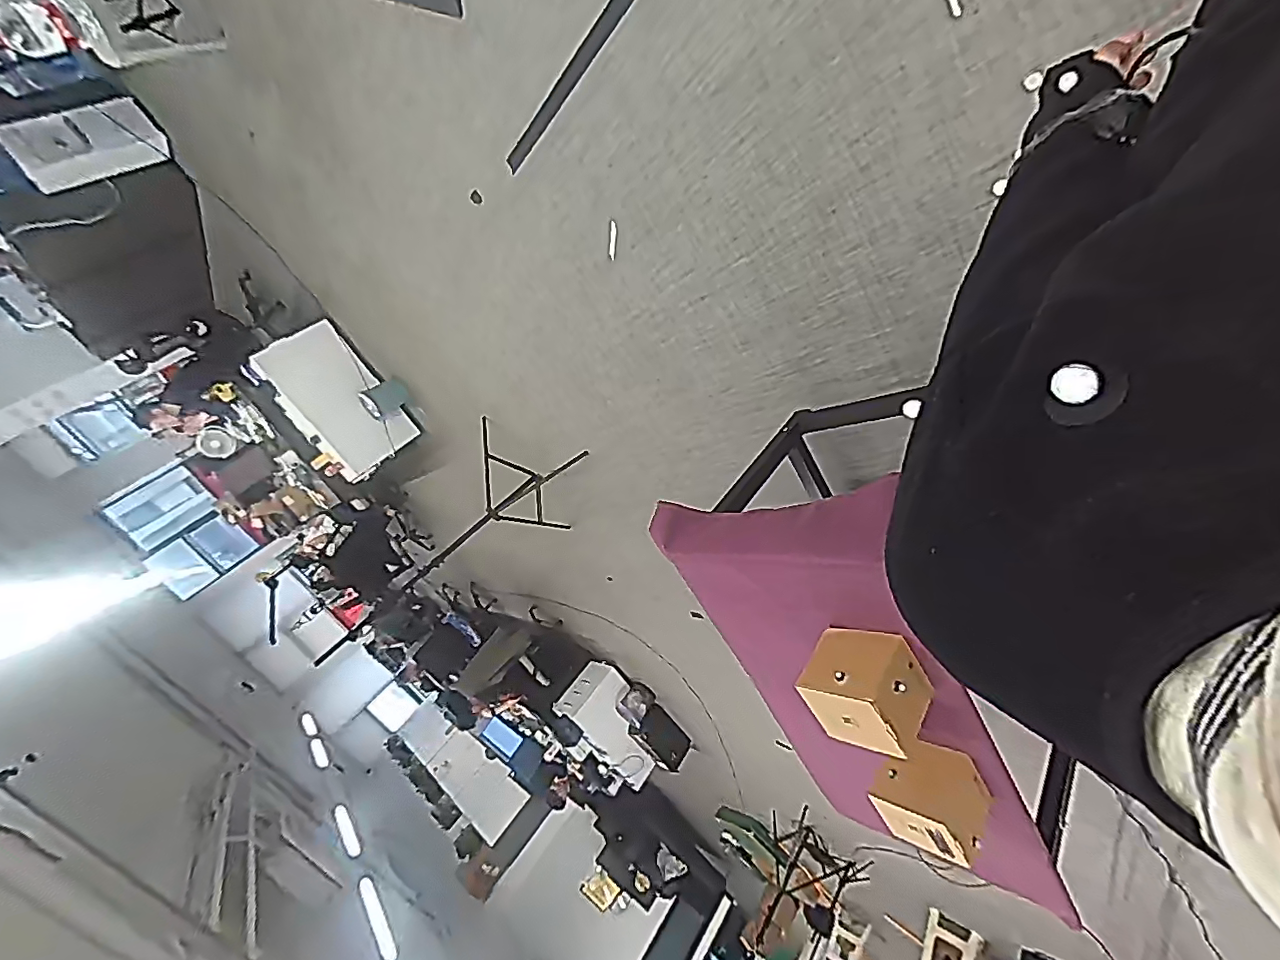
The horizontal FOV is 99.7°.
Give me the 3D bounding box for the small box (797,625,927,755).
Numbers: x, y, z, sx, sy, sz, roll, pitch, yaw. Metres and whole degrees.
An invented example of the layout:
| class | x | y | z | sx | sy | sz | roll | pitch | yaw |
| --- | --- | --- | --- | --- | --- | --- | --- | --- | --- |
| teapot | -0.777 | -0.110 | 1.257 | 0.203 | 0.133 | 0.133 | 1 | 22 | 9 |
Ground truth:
| class | x | y | z | sx | sy | sz | roll | pitch | yaw |
| --- | --- | --- | --- | --- | --- | --- | --- | --- | --- |
| small box | 0.463 | 0.419 | 1.109 | 0.179 | 0.176 | 0.168 | -11 | 119 | 54 |
